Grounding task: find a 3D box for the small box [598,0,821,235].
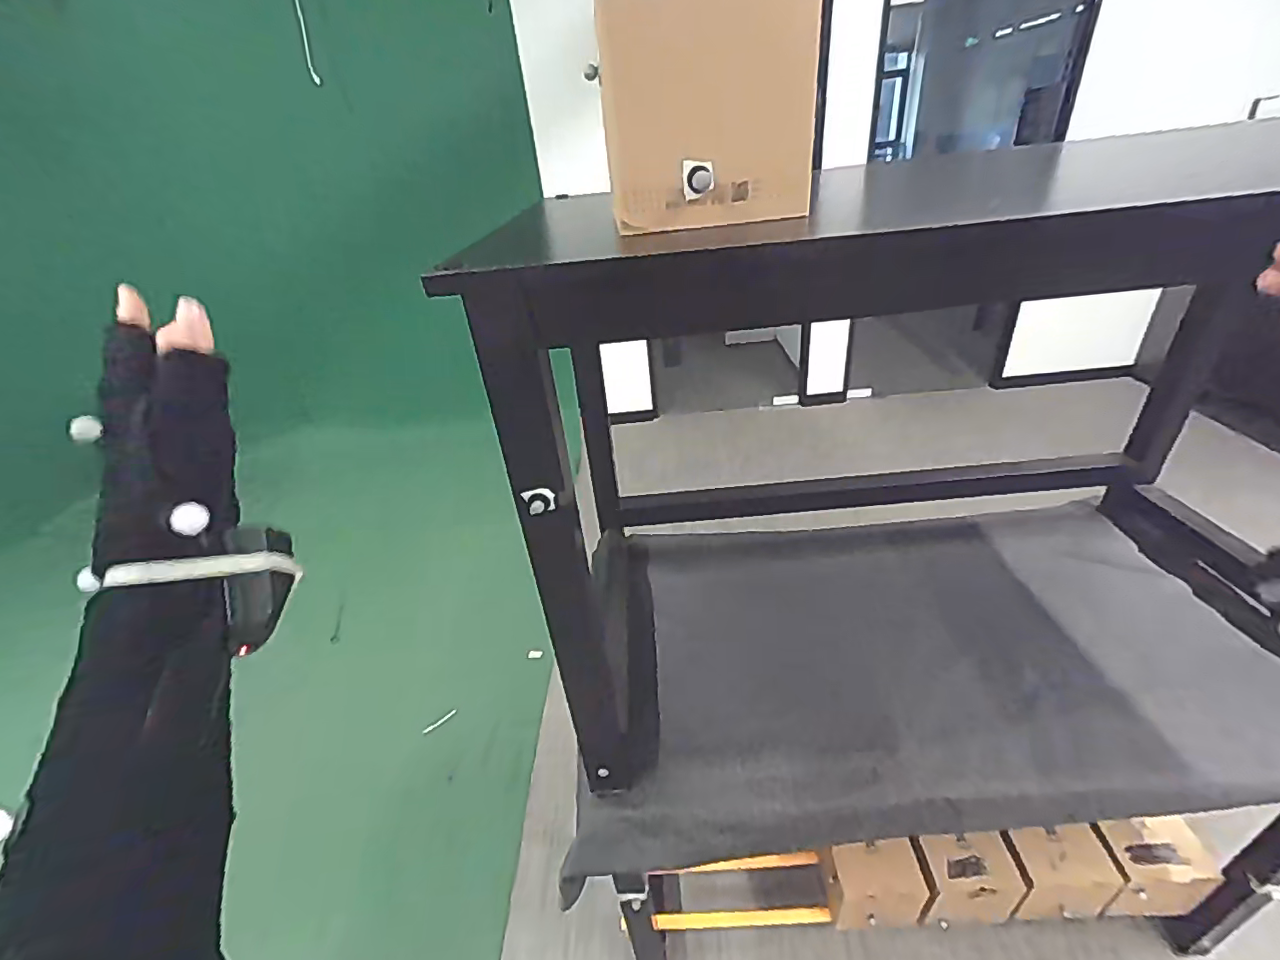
[{"bbox_3d":[0.053,-0.332,0.501,0.168,0.176,0.179,-8,32,0],"label":"small box"}]
